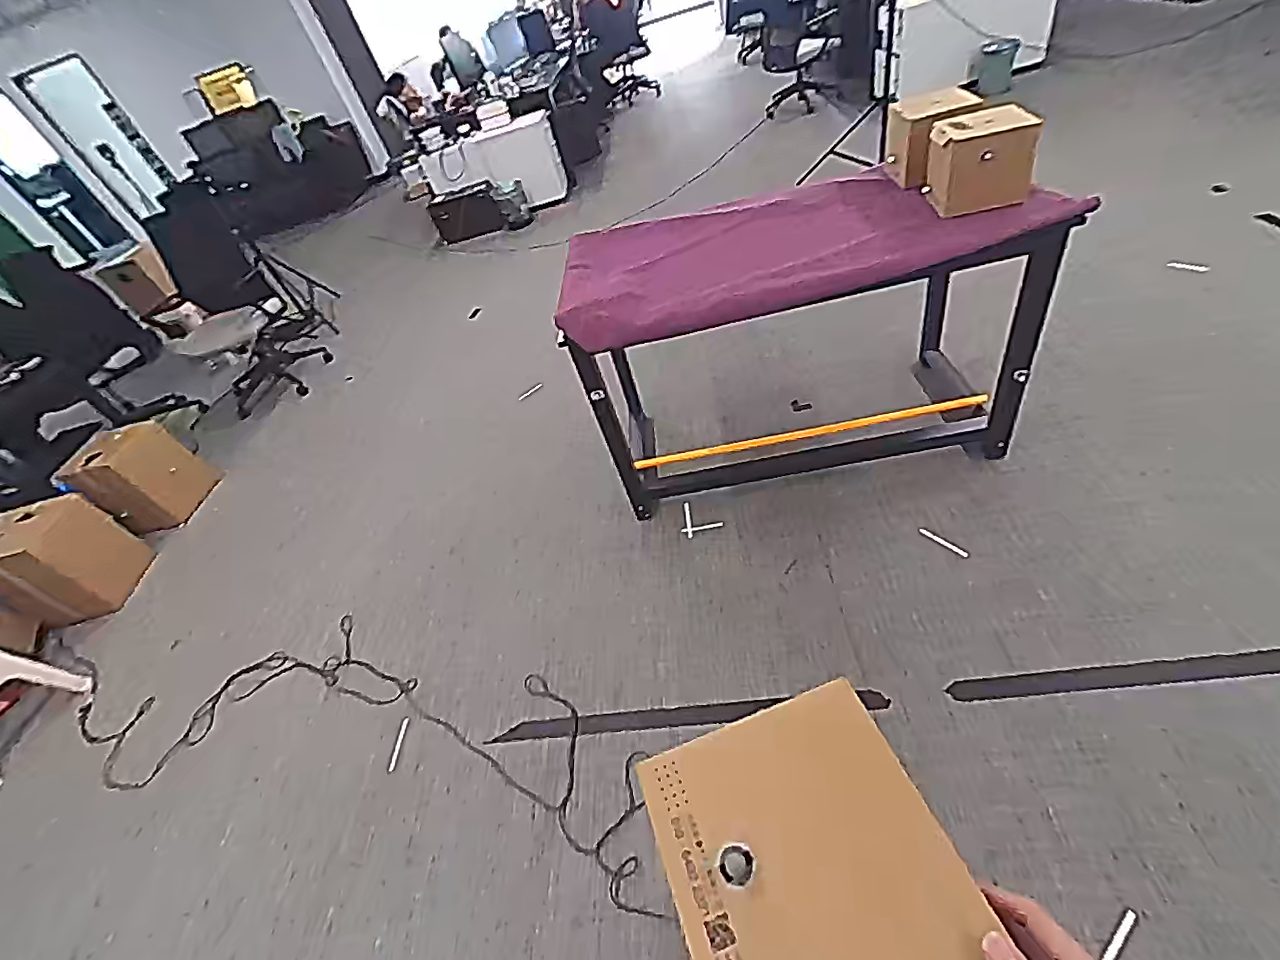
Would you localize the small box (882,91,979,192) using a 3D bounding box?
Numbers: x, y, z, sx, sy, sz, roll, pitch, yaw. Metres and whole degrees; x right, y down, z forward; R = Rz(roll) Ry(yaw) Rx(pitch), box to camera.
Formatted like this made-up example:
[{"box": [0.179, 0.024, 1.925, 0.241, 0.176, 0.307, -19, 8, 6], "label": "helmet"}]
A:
[{"box": [0.769, -0.907, 1.455, 0.179, 0.176, 0.168, -11, 45, 9], "label": "small box"}]

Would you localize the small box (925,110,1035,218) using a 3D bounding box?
[{"box": [0.792, -0.745, 1.285, 0.179, 0.176, 0.168, -7, 44, 14], "label": "small box"}]
